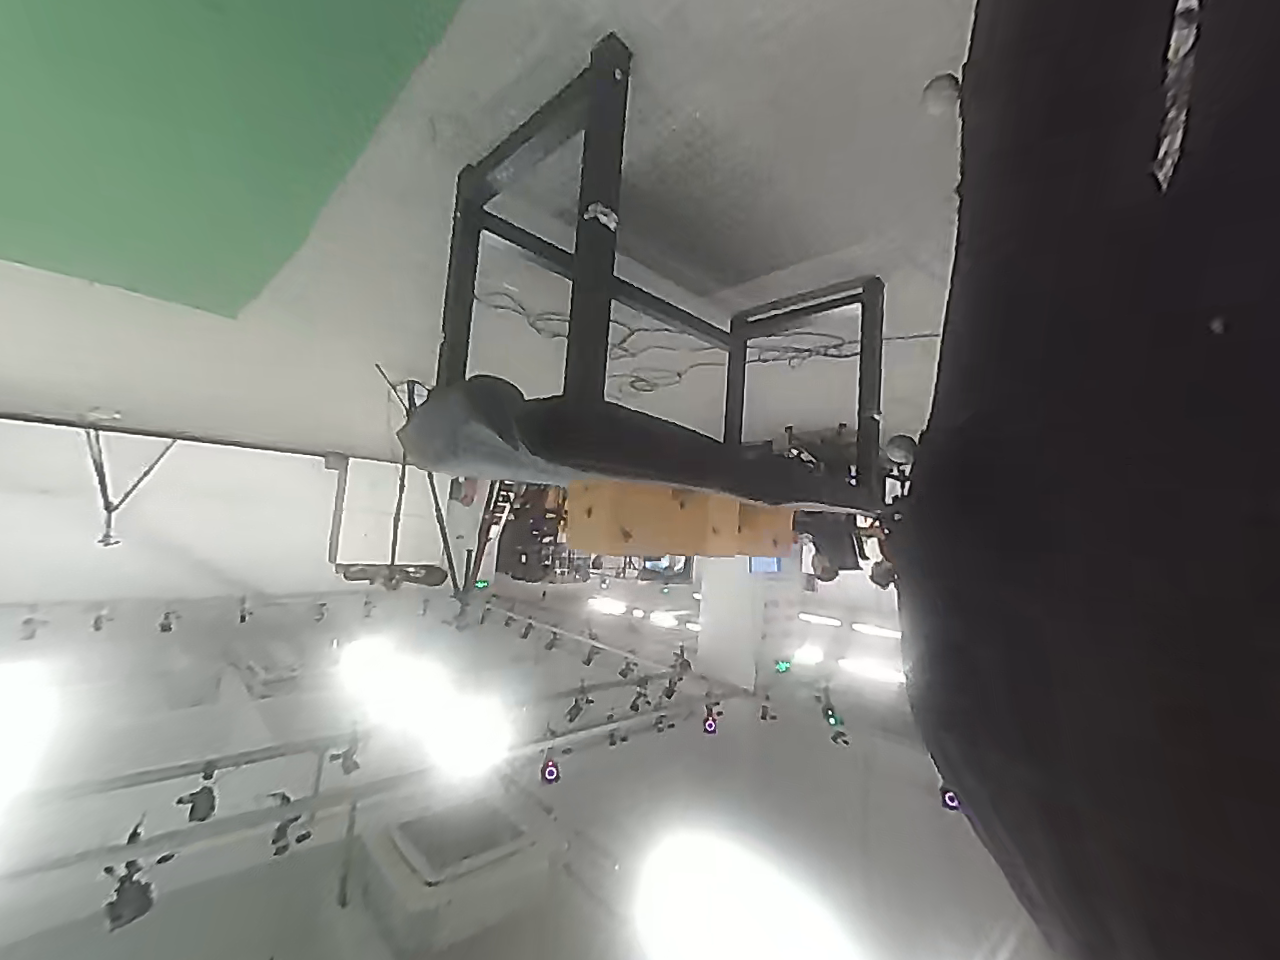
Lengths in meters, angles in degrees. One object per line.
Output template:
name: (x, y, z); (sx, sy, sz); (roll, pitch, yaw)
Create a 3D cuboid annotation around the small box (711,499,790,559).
small box: (0.333, 0.148, 1.632); (0.179, 0.176, 0.168); (8, 174, -39)

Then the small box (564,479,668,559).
small box: (-0.053, 0.088, 1.242); (0.179, 0.176, 0.168); (8, 174, -42)
